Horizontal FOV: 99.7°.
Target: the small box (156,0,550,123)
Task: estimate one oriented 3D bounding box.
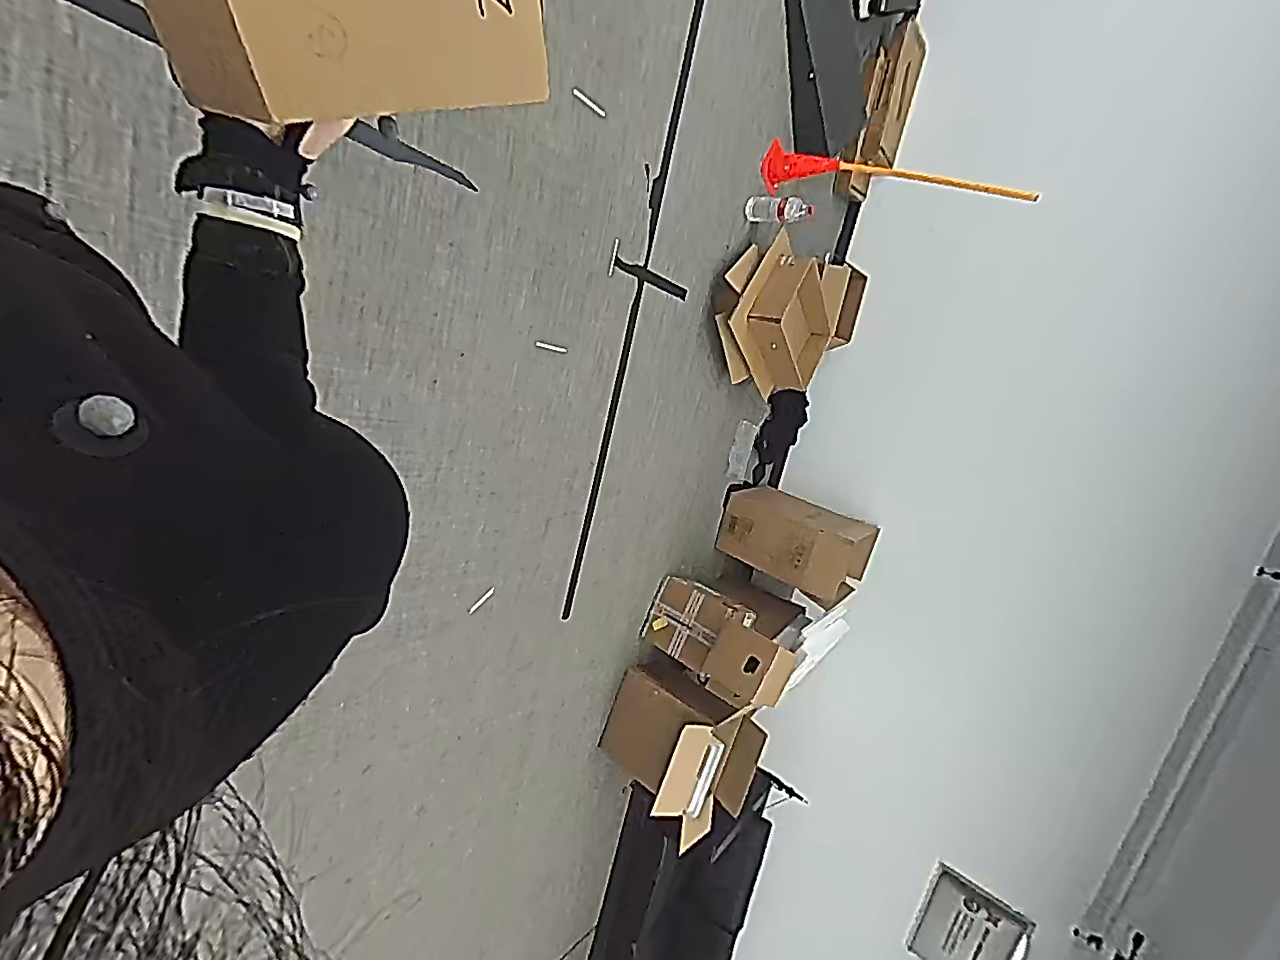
[{"bbox_3d":[-0.178,-0.313,0.312,0.179,0.176,0.168,-33,140,-34],"label":"small box"}]
